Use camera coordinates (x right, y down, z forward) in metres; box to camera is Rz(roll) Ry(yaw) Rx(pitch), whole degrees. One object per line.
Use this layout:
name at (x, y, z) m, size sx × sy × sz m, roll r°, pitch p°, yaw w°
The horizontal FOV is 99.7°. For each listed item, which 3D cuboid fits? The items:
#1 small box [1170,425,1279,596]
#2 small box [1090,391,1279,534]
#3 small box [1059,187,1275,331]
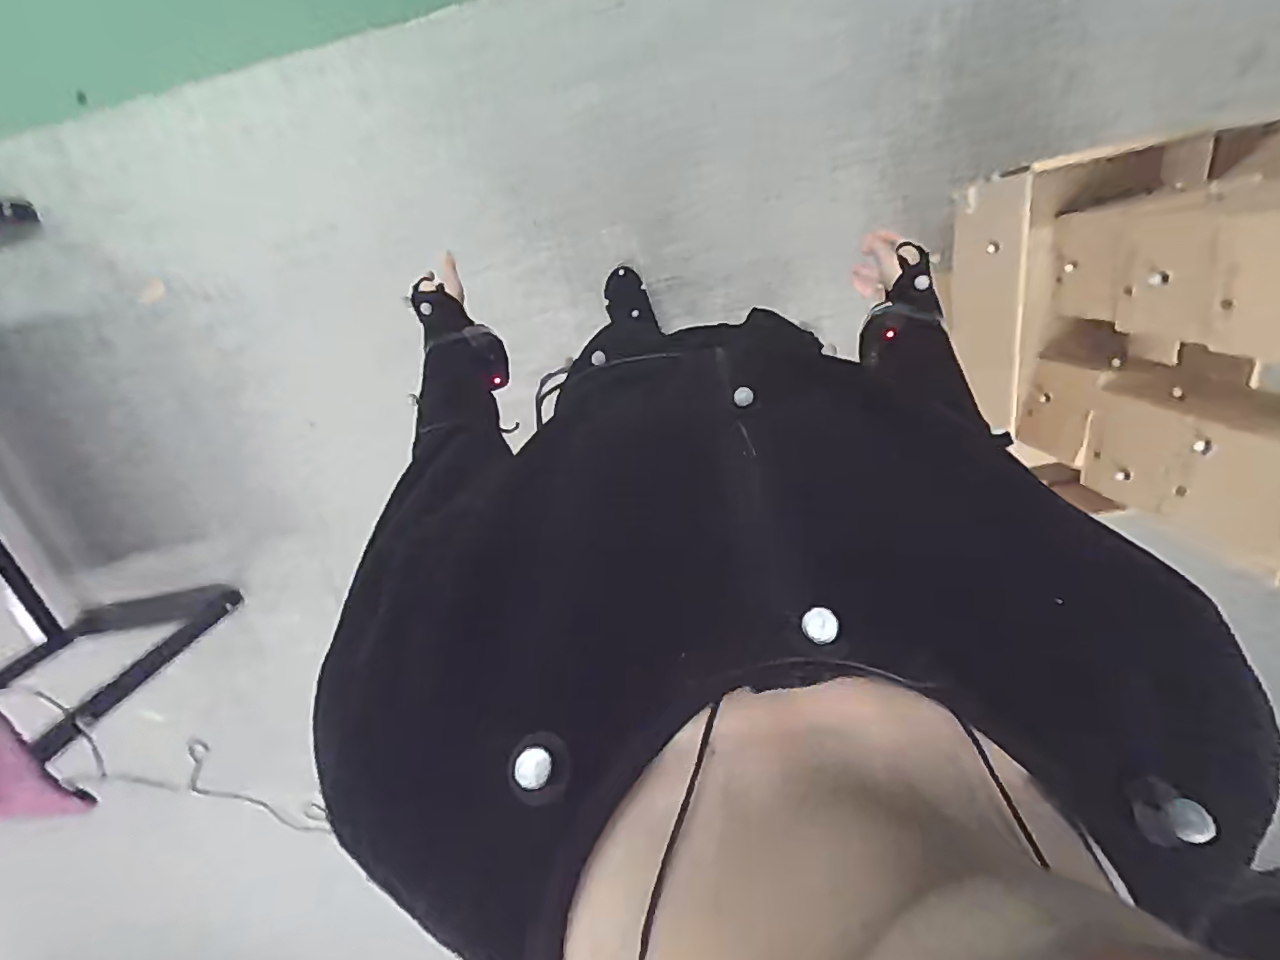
small box at (0.828, 0.034, 0.665) m, size 0.179 × 0.176 × 0.168 m, roll -2°, pitch 113°, yaw 2°
small box at (0.837, -0.031, 0.815) m, size 0.179 × 0.176 × 0.168 m, roll -4°, pitch 112°, yaw 4°
small box at (0.820, -0.348, 0.863) m, size 0.179 × 0.176 × 0.168 m, roll -13°, pitch 110°, yaw 7°
